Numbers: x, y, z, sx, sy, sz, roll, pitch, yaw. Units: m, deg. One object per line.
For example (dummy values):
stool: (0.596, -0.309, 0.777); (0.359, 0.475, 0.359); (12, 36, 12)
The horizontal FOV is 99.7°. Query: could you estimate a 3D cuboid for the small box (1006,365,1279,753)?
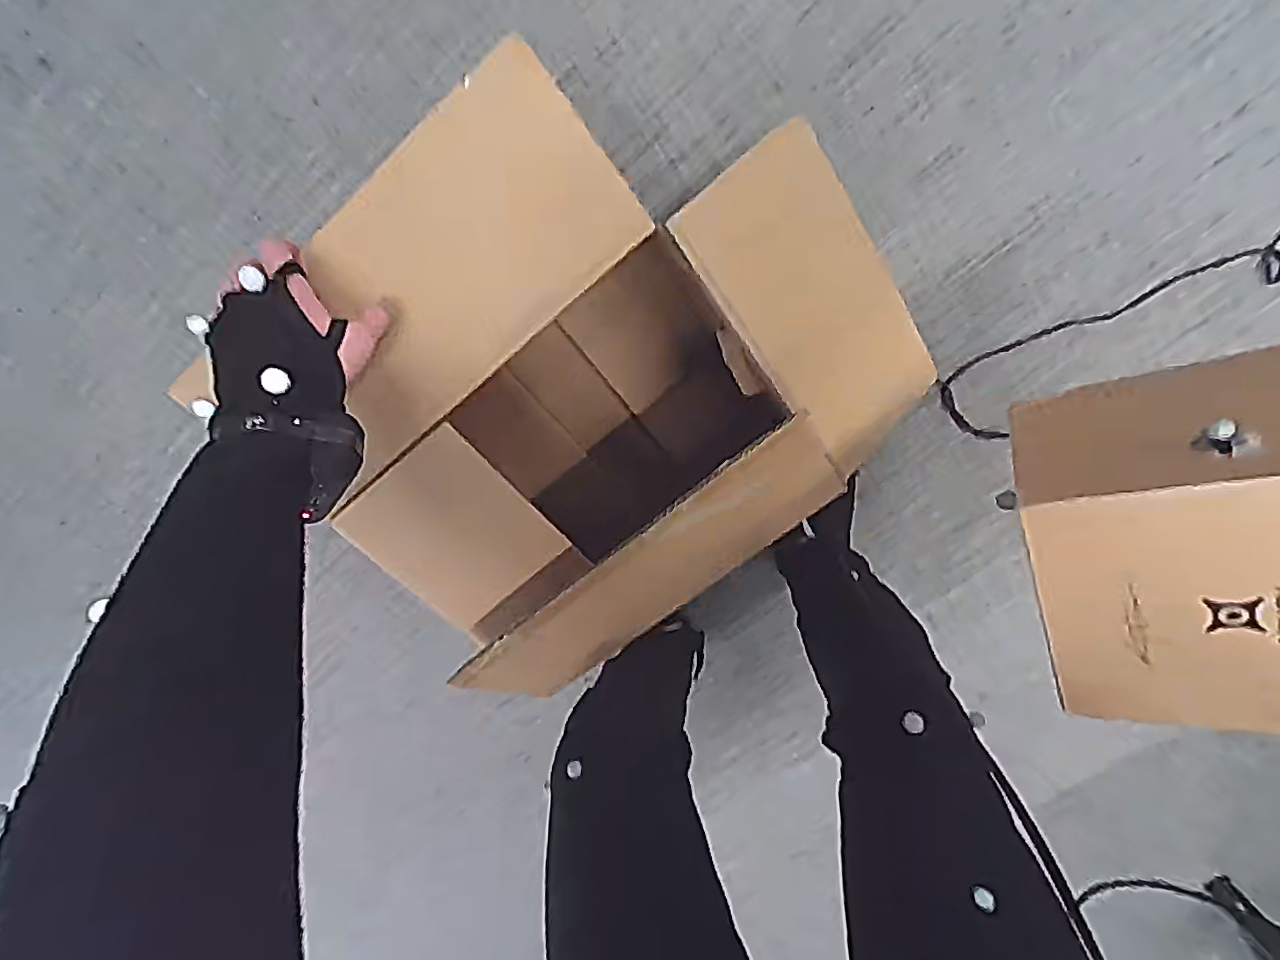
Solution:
small box: (0.346, 0.039, 0.336); (0.179, 0.176, 0.168); (-9, 111, 35)
